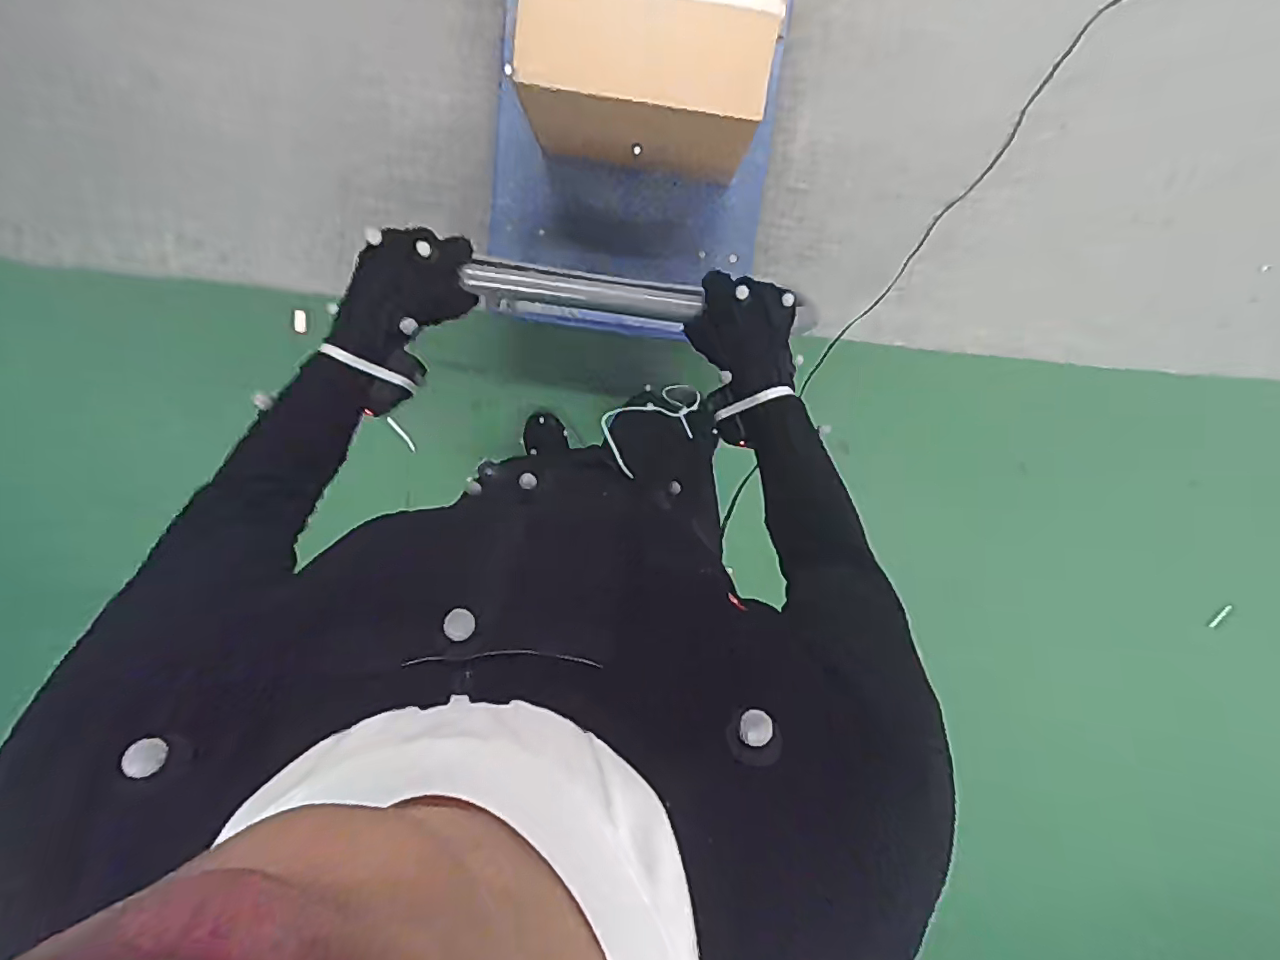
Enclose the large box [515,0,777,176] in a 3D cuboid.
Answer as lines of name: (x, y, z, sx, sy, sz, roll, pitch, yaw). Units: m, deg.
large box: (0.017, -0.785, 0.978, 0.408, 0.320, 0.320, 7, 101, -2)
